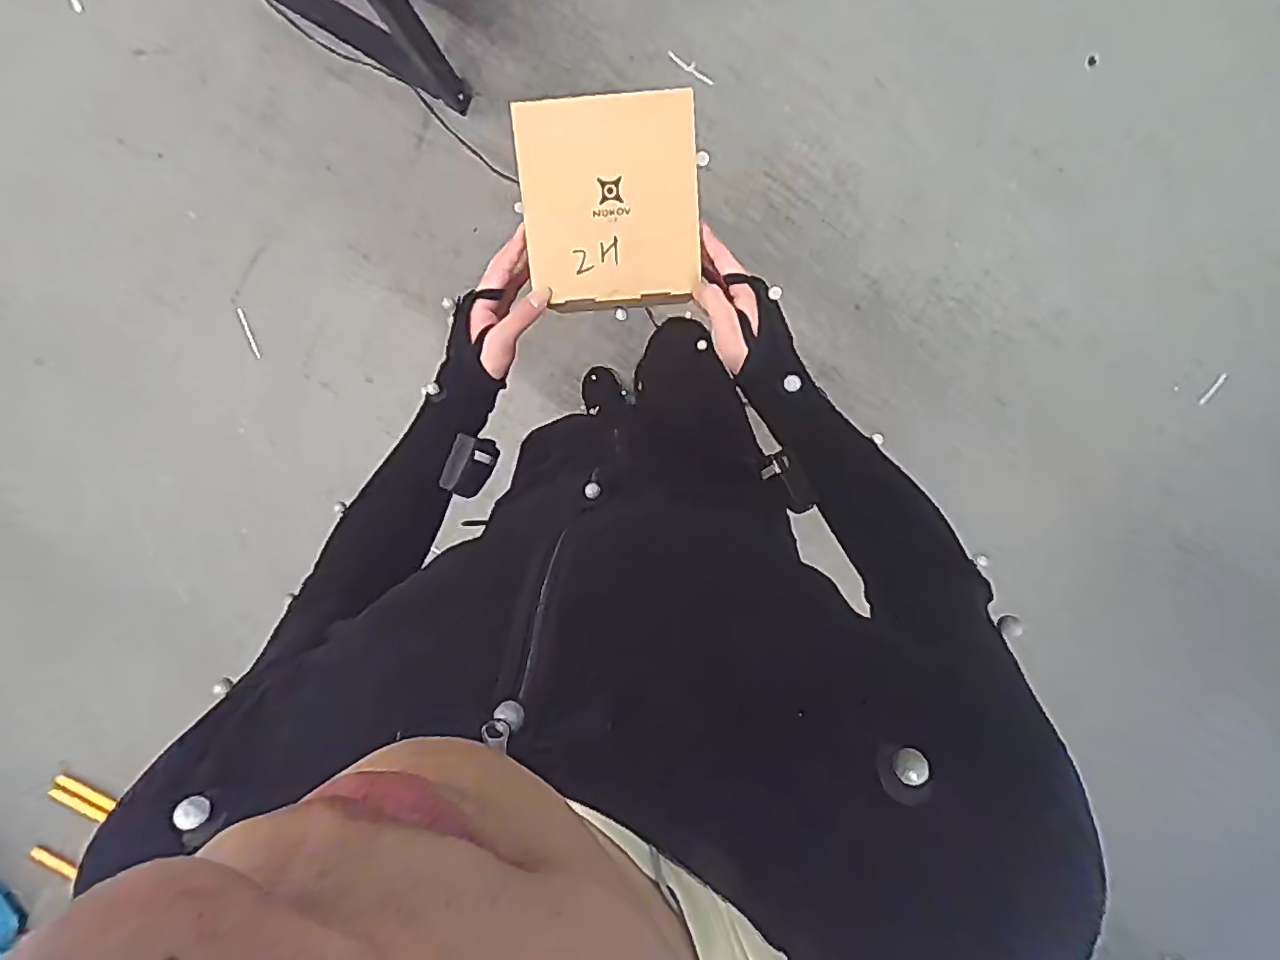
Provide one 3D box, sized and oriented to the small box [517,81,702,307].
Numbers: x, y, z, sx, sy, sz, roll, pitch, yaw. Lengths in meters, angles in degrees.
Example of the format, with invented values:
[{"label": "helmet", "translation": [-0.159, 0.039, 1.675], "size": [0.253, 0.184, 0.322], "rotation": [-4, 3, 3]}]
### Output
[{"label": "small box", "translation": [-0.026, -0.285, 0.578], "size": [0.168, 0.176, 0.179], "rotation": [-3, 104, 1]}]
